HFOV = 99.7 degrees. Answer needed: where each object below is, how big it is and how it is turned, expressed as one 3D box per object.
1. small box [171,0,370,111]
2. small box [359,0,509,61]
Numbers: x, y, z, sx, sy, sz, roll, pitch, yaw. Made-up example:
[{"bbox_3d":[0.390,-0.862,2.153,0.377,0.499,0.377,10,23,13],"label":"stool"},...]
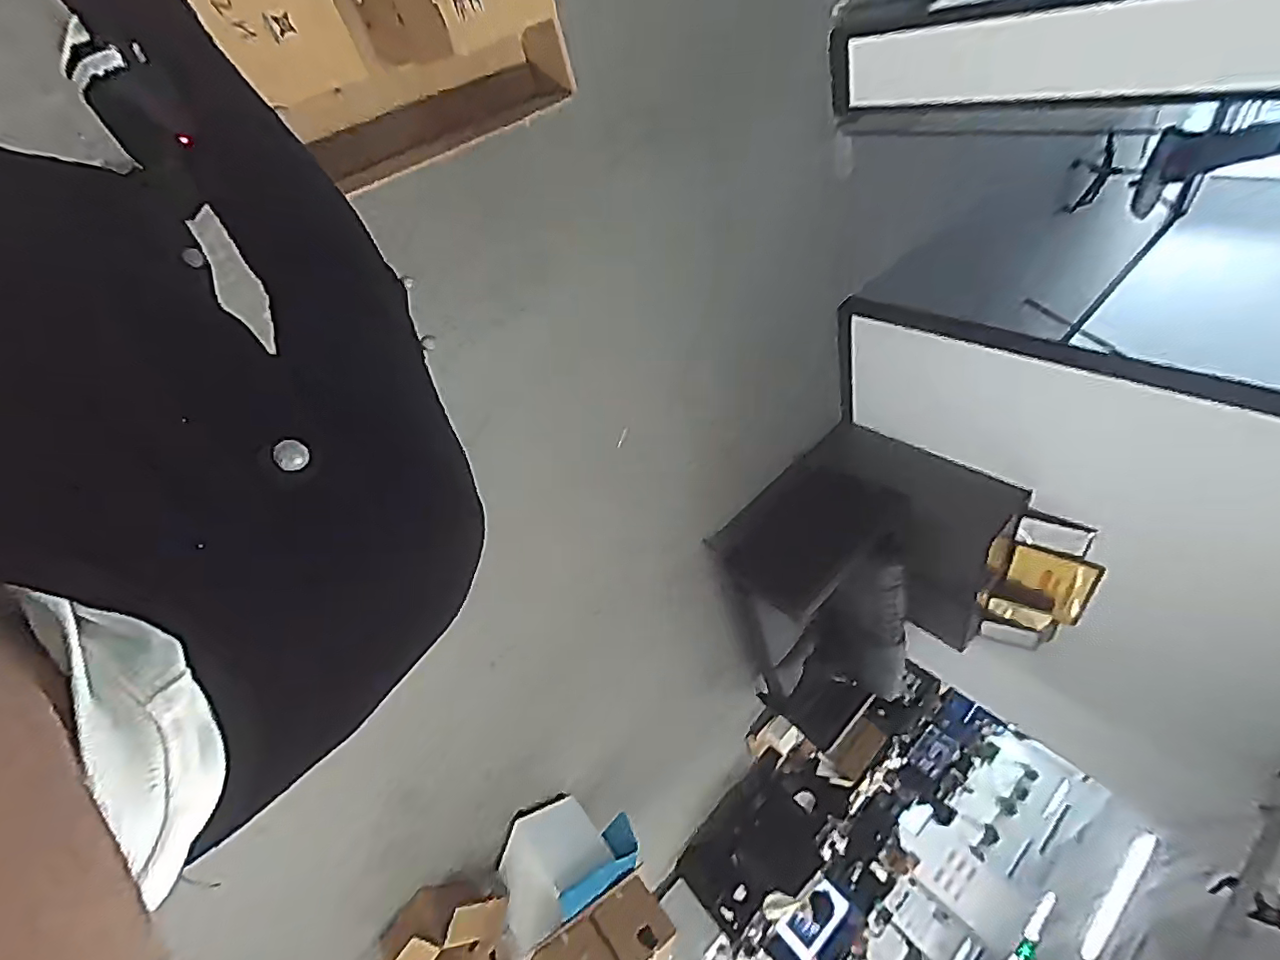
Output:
[{"bbox_3d":[-0.535,-0.654,0.779,0.179,0.176,0.168,-38,136,-20],"label":"small box"},{"bbox_3d":[-0.348,-0.802,0.869,0.179,0.176,0.168,-37,136,-17],"label":"small box"}]
